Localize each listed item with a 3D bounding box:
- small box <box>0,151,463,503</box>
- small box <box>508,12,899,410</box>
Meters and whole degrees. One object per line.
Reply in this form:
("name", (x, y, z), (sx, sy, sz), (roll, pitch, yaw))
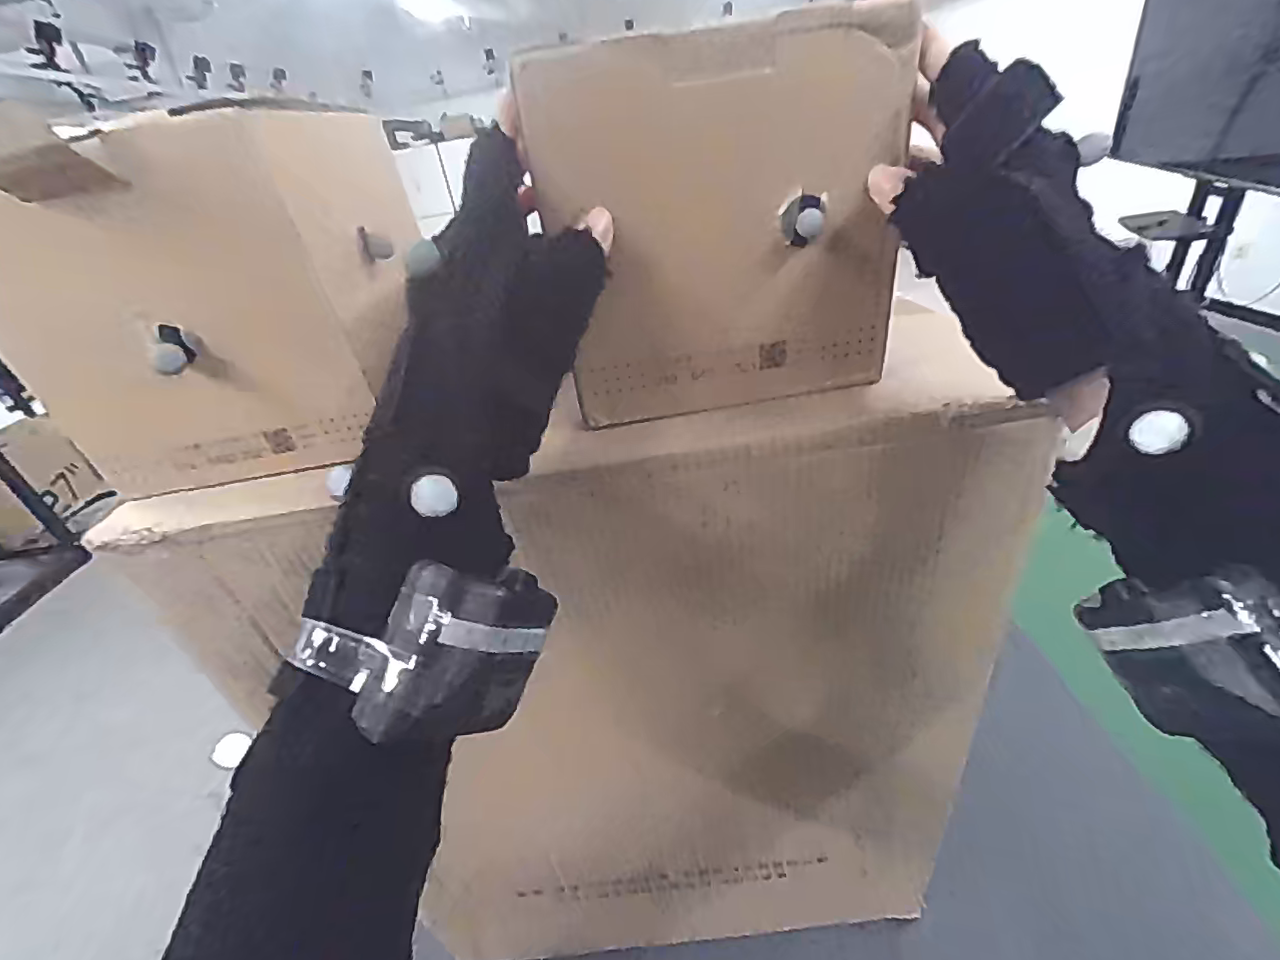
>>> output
("small box", (-0.232, -0.099, 0.356), (0.168, 0.176, 0.179), (-12, 34, 0))
("small box", (0.031, -0.150, 0.330), (0.168, 0.176, 0.179), (-8, 33, 0))
